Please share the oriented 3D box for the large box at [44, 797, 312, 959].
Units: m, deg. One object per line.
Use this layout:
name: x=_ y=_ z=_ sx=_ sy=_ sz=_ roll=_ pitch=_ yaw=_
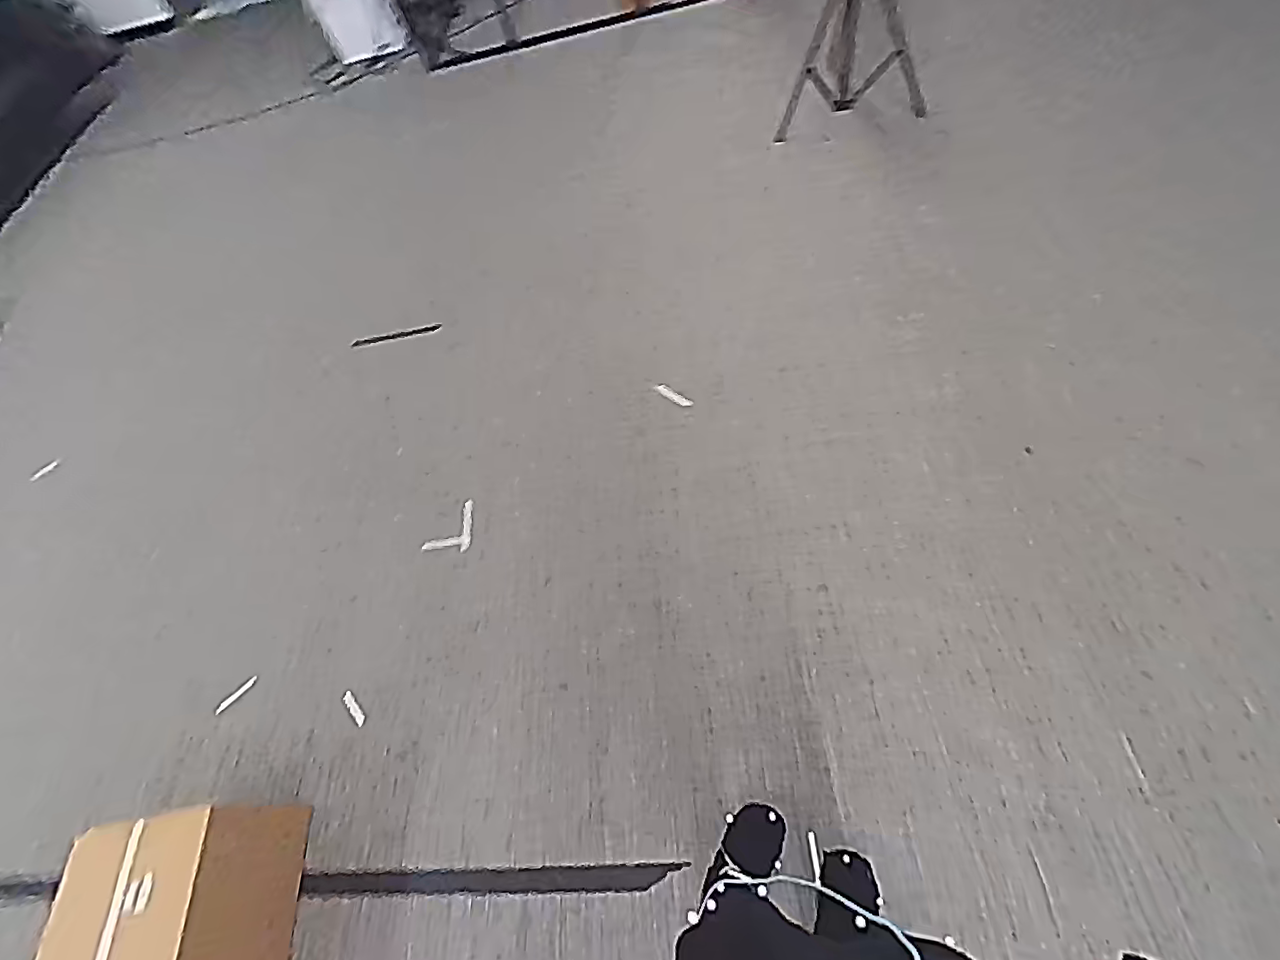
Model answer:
large box: x=-0.980 y=0.945 z=1.170 sx=0.320 sy=0.320 sz=0.408 roll=-12 pitch=57 yaw=4
